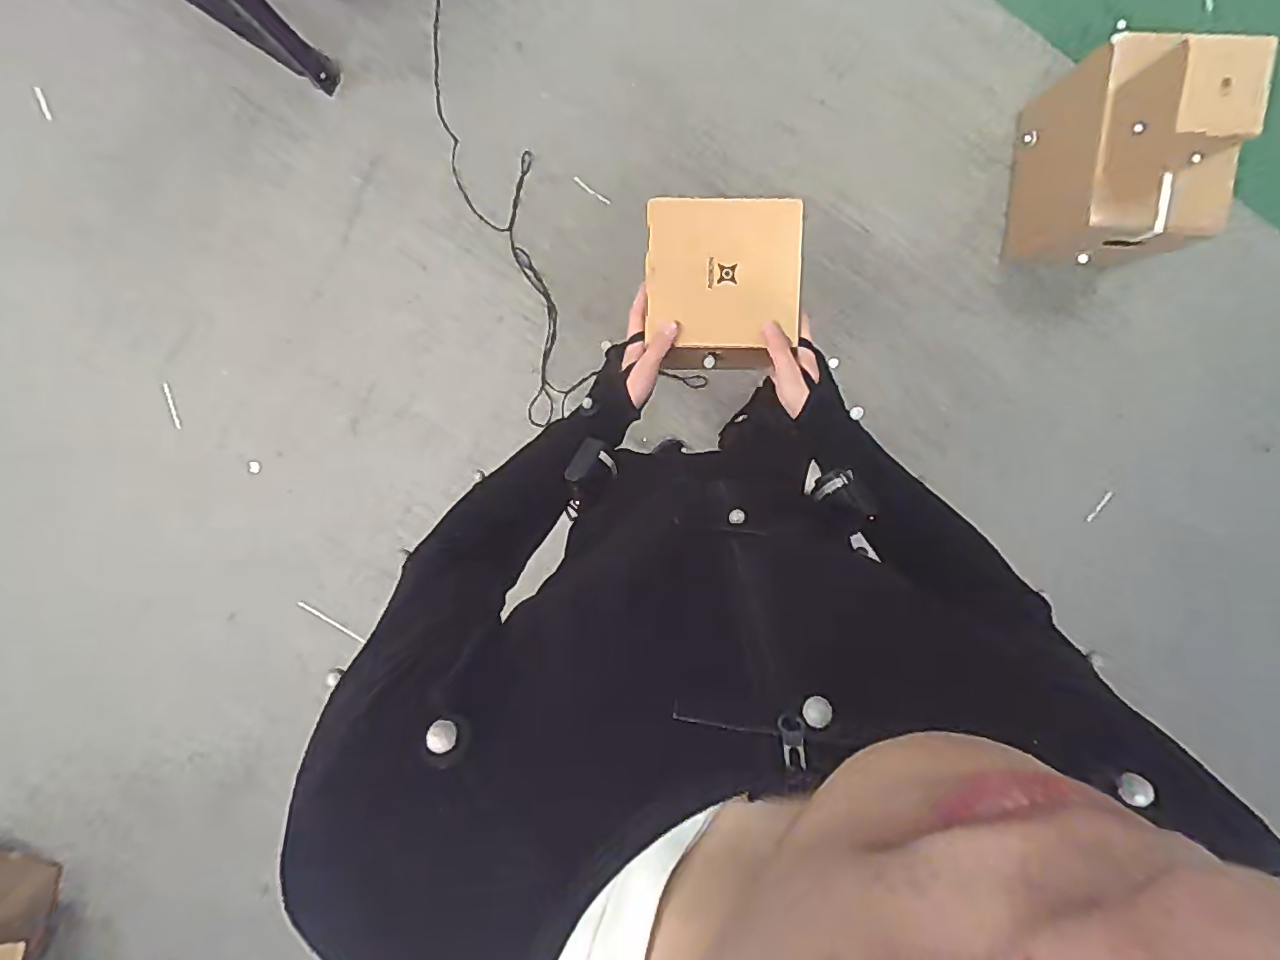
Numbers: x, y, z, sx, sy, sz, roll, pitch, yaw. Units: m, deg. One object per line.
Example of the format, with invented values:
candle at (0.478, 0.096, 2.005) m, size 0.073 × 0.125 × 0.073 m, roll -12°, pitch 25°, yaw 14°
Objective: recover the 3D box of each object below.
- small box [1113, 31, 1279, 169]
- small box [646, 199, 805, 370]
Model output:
small box at (1.115, -0.755, 1.093) m, size 0.168 × 0.176 × 0.179 m, roll 3°, pitch 97°, yaw 1°
small box at (0.097, -0.234, 0.683) m, size 0.179 × 0.176 × 0.168 m, roll 1°, pitch 93°, yaw 3°
